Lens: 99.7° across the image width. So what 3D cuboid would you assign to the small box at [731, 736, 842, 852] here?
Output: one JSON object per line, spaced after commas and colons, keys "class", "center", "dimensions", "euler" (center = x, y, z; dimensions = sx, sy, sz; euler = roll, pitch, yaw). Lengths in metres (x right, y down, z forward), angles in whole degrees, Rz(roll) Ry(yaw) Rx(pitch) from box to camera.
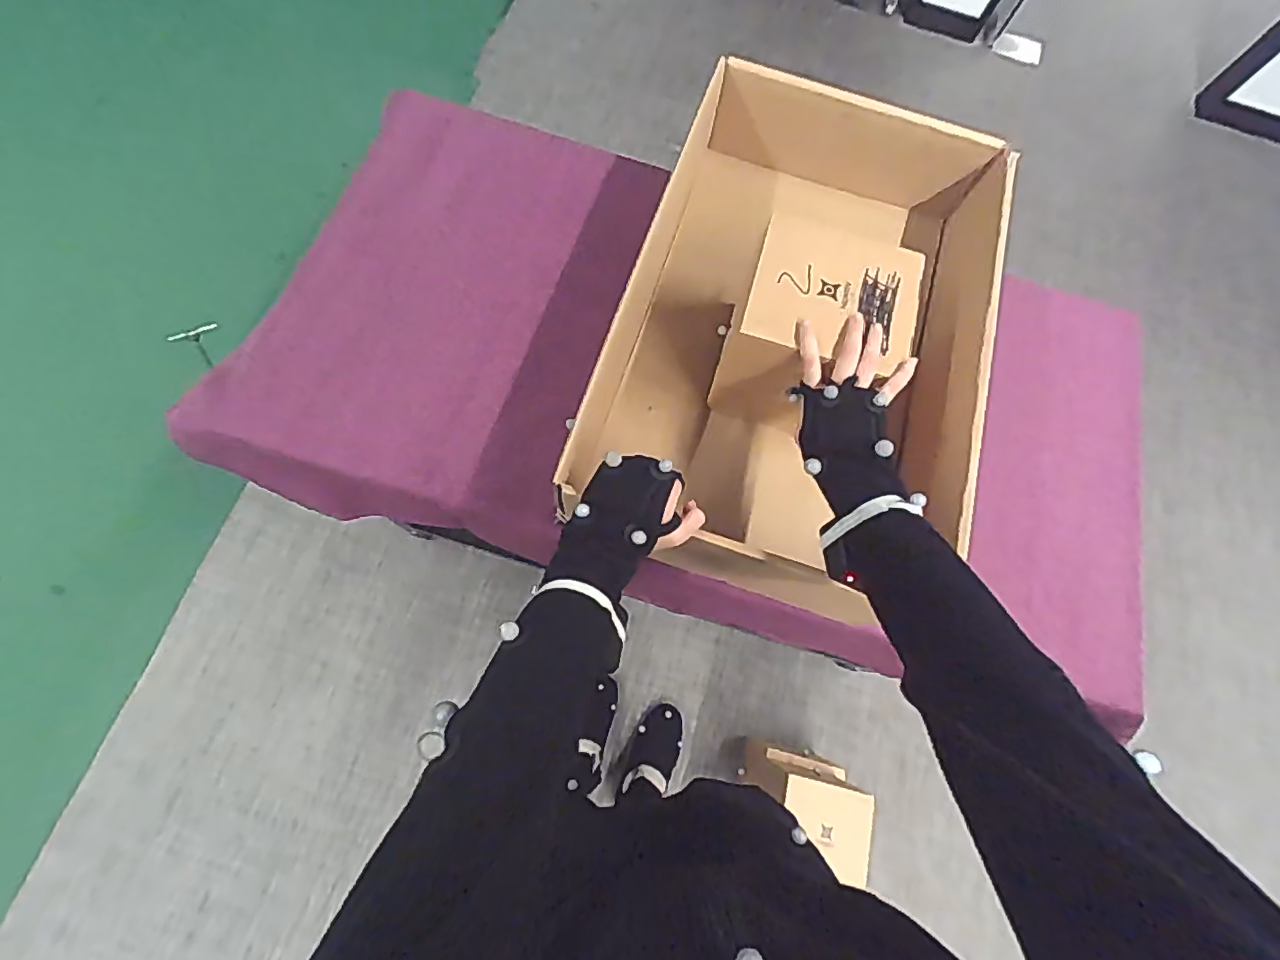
{"class": "small box", "center": [0.320, 0.687, 1.205], "dimensions": [0.179, 0.176, 0.168], "euler": [16, 72, 1]}
